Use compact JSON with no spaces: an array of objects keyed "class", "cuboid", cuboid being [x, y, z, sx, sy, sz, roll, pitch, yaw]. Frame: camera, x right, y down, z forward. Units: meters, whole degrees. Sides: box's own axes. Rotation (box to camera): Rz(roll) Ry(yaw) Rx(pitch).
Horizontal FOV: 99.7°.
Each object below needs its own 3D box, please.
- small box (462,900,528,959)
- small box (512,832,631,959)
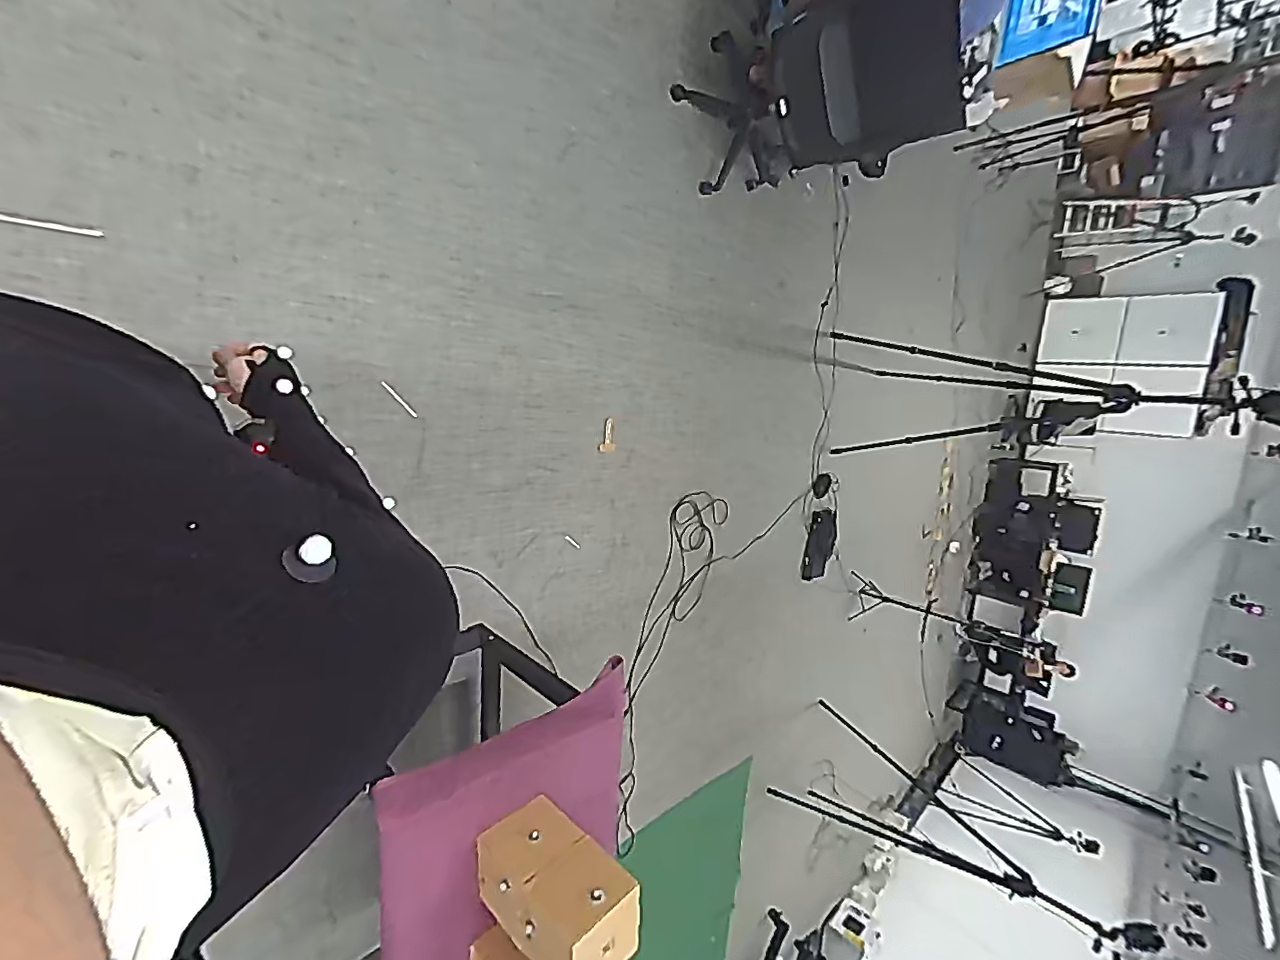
[{"class":"small box","cuboid":[-0.290,1.119,1.248,0.179,0.176,0.168,-9,106,-45]},{"class":"small box","cuboid":[-0.140,0.872,1.100,0.179,0.176,0.168,-10,107,-46]}]
